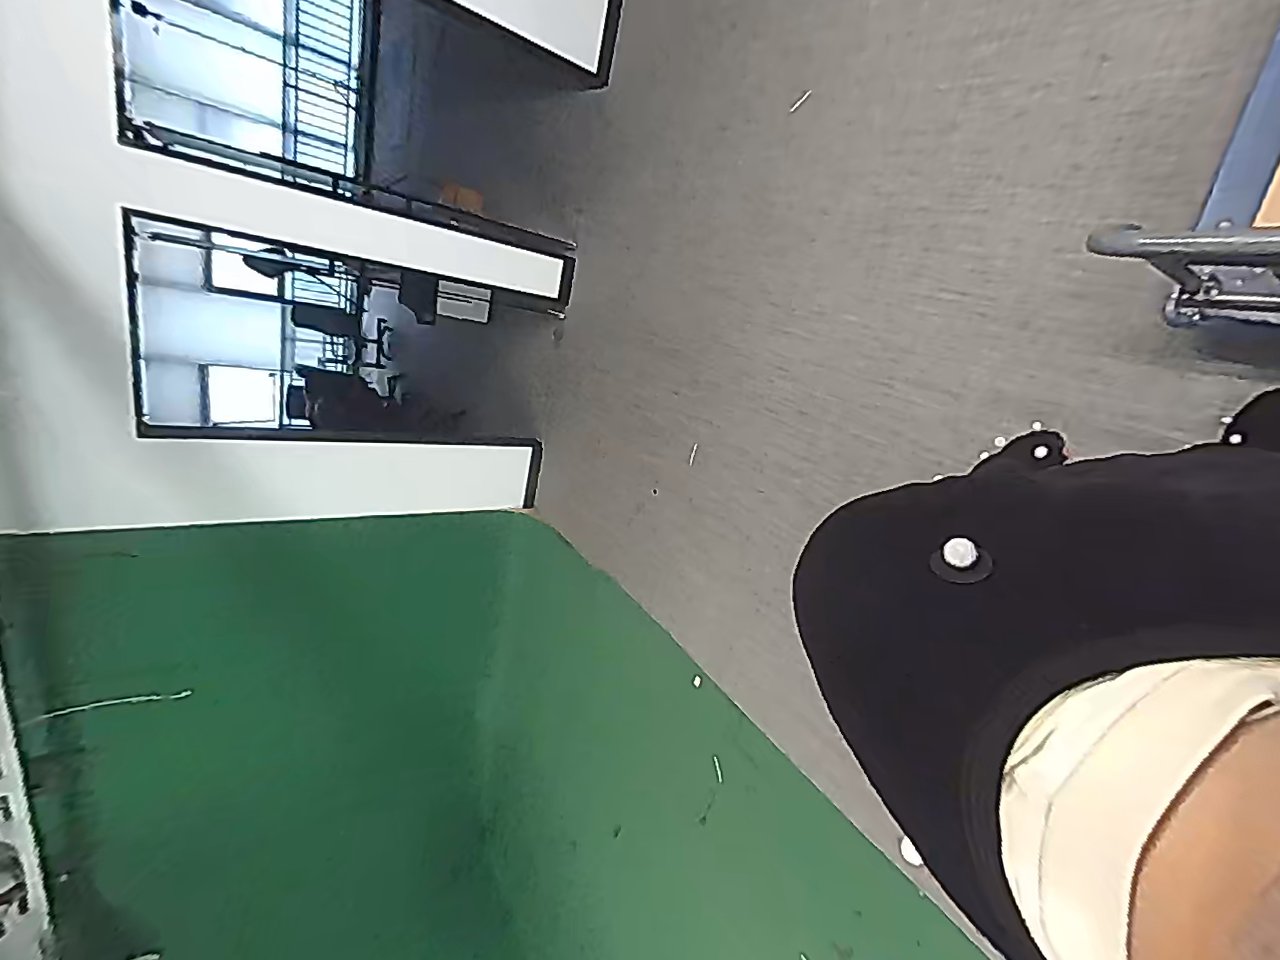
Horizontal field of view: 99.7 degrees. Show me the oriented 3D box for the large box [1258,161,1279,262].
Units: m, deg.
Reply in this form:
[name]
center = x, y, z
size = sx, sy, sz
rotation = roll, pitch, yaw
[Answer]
[large box]
center = 1.147, -0.517, 0.720
size = 0.320, 0.320, 0.408
rotation = 29, 113, 50
